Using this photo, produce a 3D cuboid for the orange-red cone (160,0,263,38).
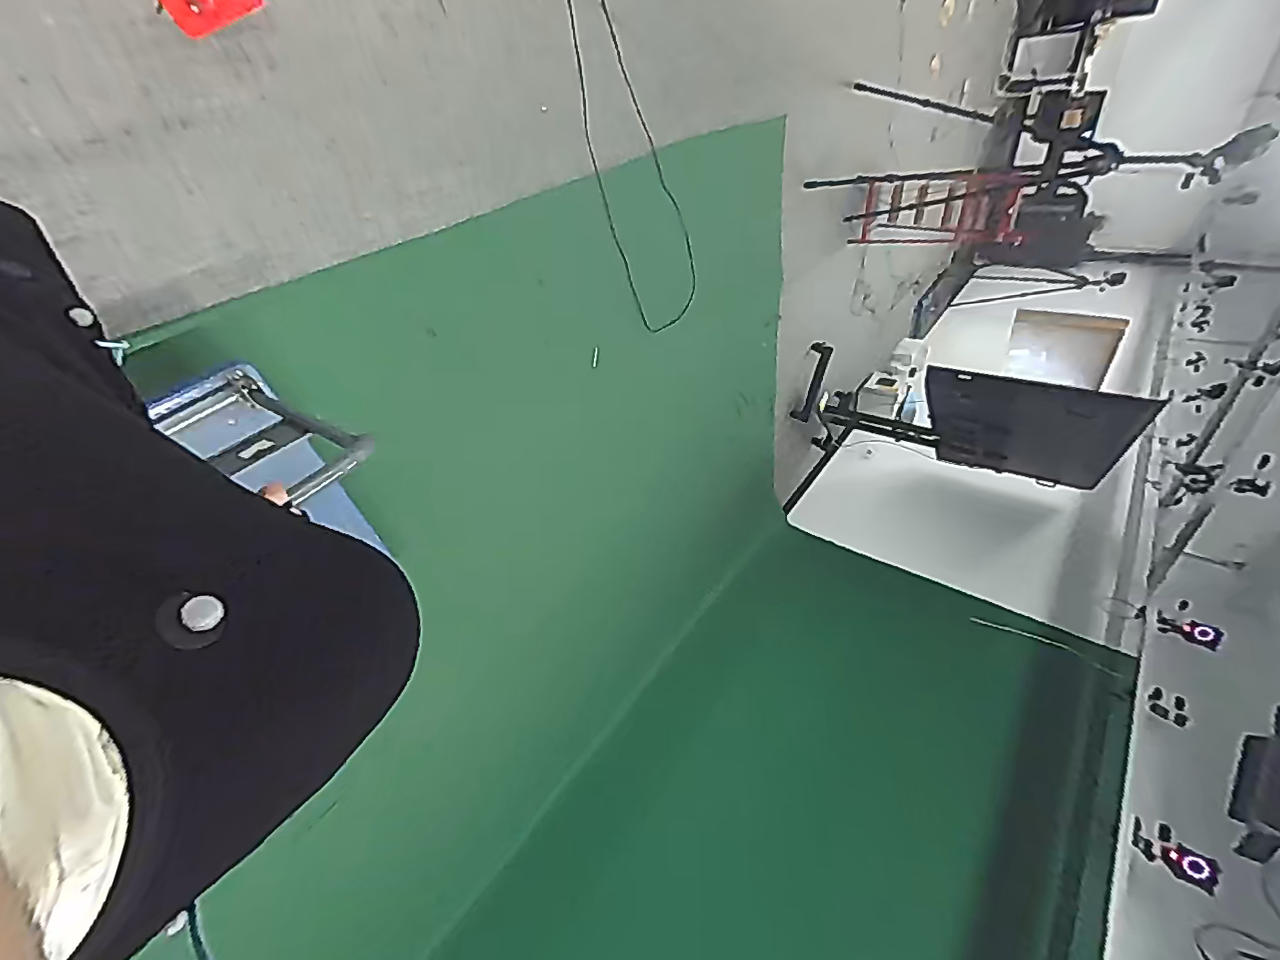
[{"bbox_3d":[-0.776,-0.993,1.002,0.199,0.360,0.198,-53,144,-24],"label":"orange-red cone"}]
